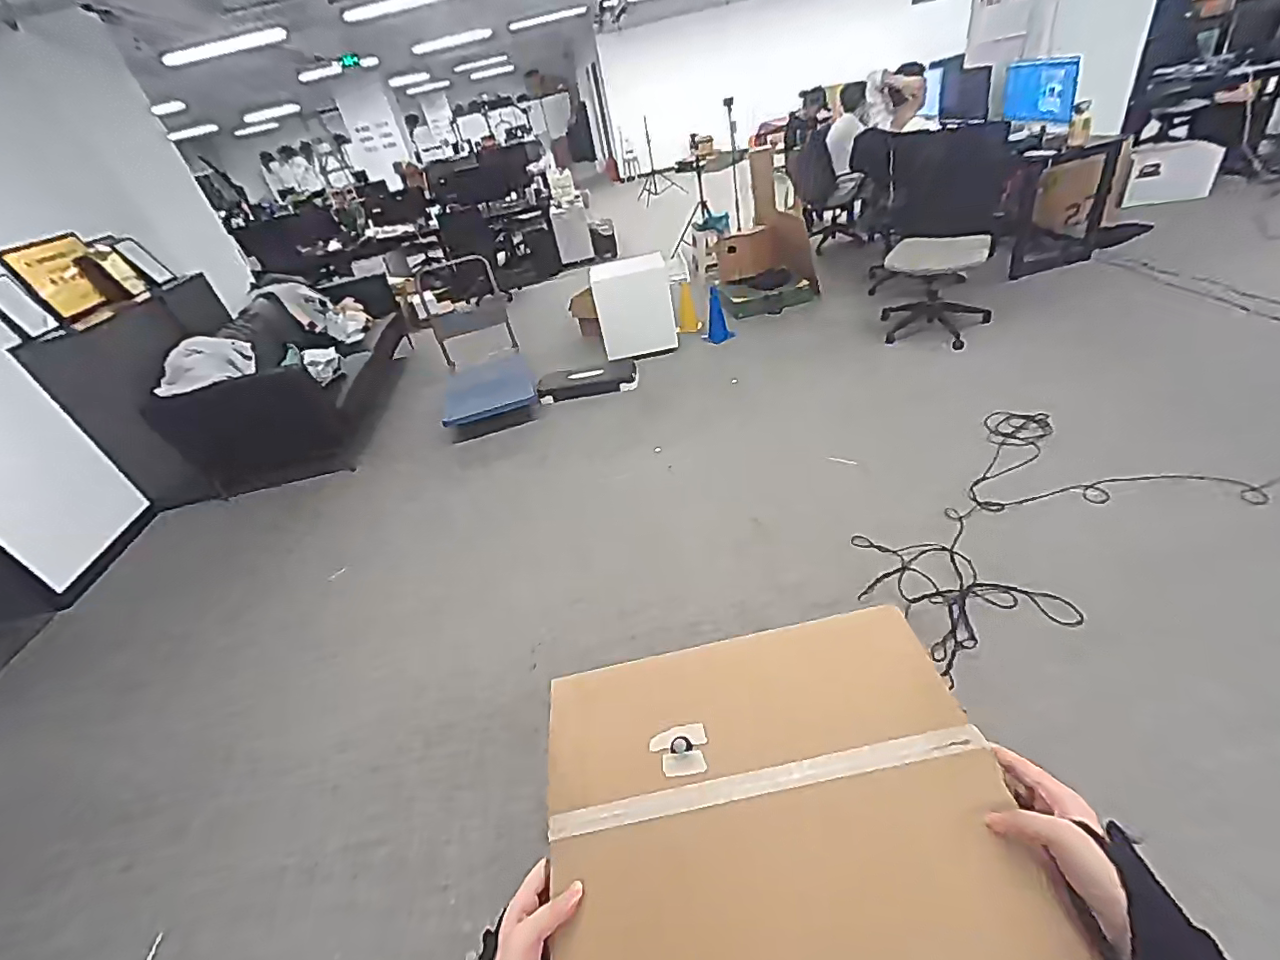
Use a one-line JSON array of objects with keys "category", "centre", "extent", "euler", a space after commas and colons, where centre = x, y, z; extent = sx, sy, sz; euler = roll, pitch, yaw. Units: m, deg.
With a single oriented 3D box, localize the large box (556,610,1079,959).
[{"category": "large box", "centre": [0.148, 0.403, 0.608], "extent": [0.408, 0.320, 0.320], "euler": [-15, 39, 4]}]
